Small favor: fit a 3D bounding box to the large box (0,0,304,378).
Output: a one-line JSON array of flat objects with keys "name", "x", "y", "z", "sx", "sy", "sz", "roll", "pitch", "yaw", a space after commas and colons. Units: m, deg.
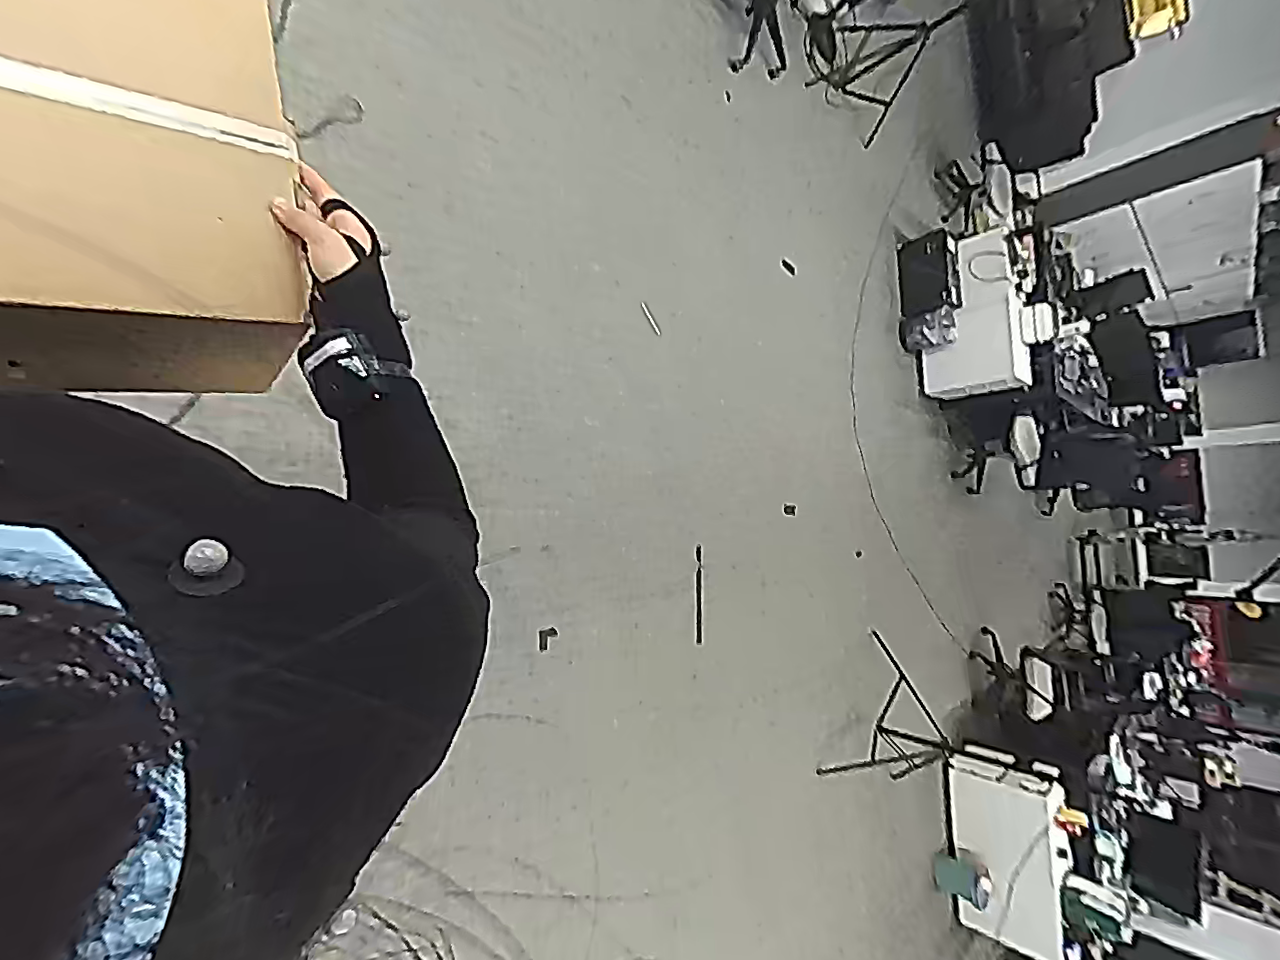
[{"name": "large box", "x": -0.569, "y": -0.268, "z": 0.468, "sx": 0.408, "sy": 0.320, "sz": 0.320, "roll": -9, "pitch": 91, "yaw": -41}]
